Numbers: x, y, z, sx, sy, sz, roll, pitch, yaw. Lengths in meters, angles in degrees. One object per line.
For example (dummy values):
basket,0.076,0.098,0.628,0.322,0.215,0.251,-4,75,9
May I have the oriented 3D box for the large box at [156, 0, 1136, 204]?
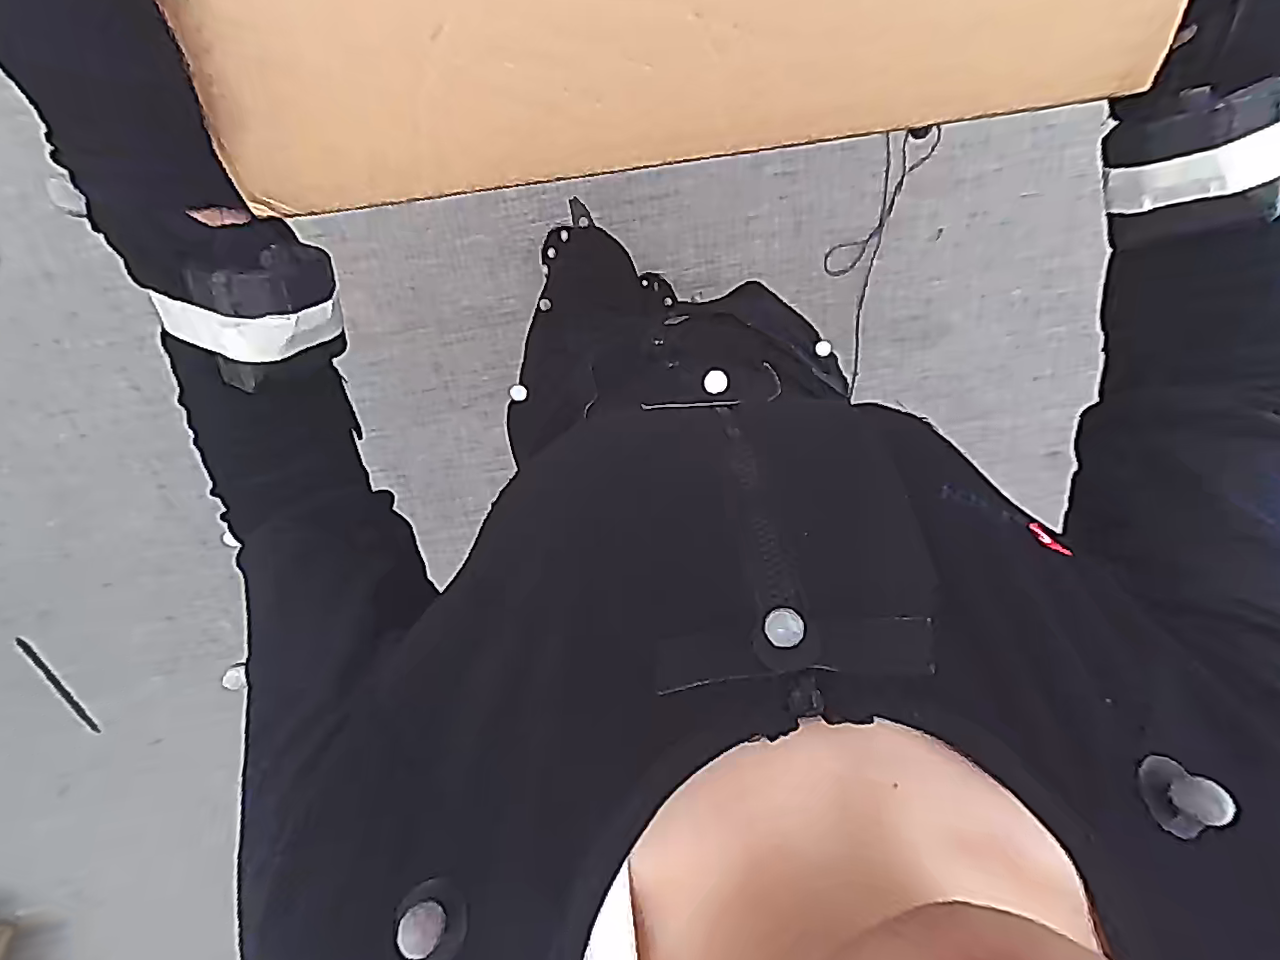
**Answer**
large box,-0.008,-0.368,0.260,0.408,0.320,0.320,-8,131,0
